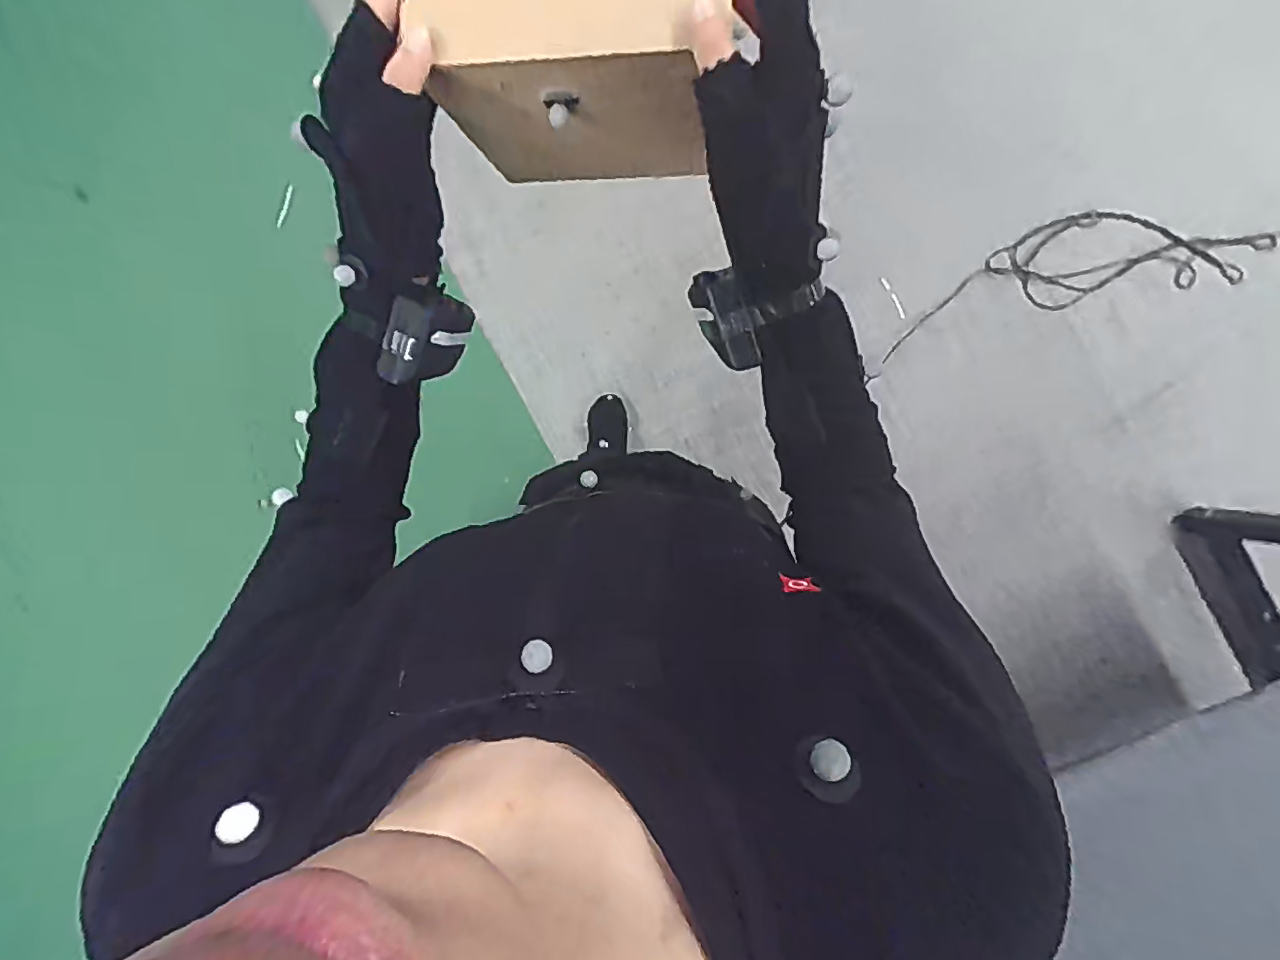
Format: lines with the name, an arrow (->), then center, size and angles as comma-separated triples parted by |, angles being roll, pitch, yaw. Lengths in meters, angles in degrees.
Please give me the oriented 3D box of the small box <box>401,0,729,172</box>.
small box -> -0.032, -0.317, 0.348 | 0.179, 0.176, 0.168 | 2, 100, 5
